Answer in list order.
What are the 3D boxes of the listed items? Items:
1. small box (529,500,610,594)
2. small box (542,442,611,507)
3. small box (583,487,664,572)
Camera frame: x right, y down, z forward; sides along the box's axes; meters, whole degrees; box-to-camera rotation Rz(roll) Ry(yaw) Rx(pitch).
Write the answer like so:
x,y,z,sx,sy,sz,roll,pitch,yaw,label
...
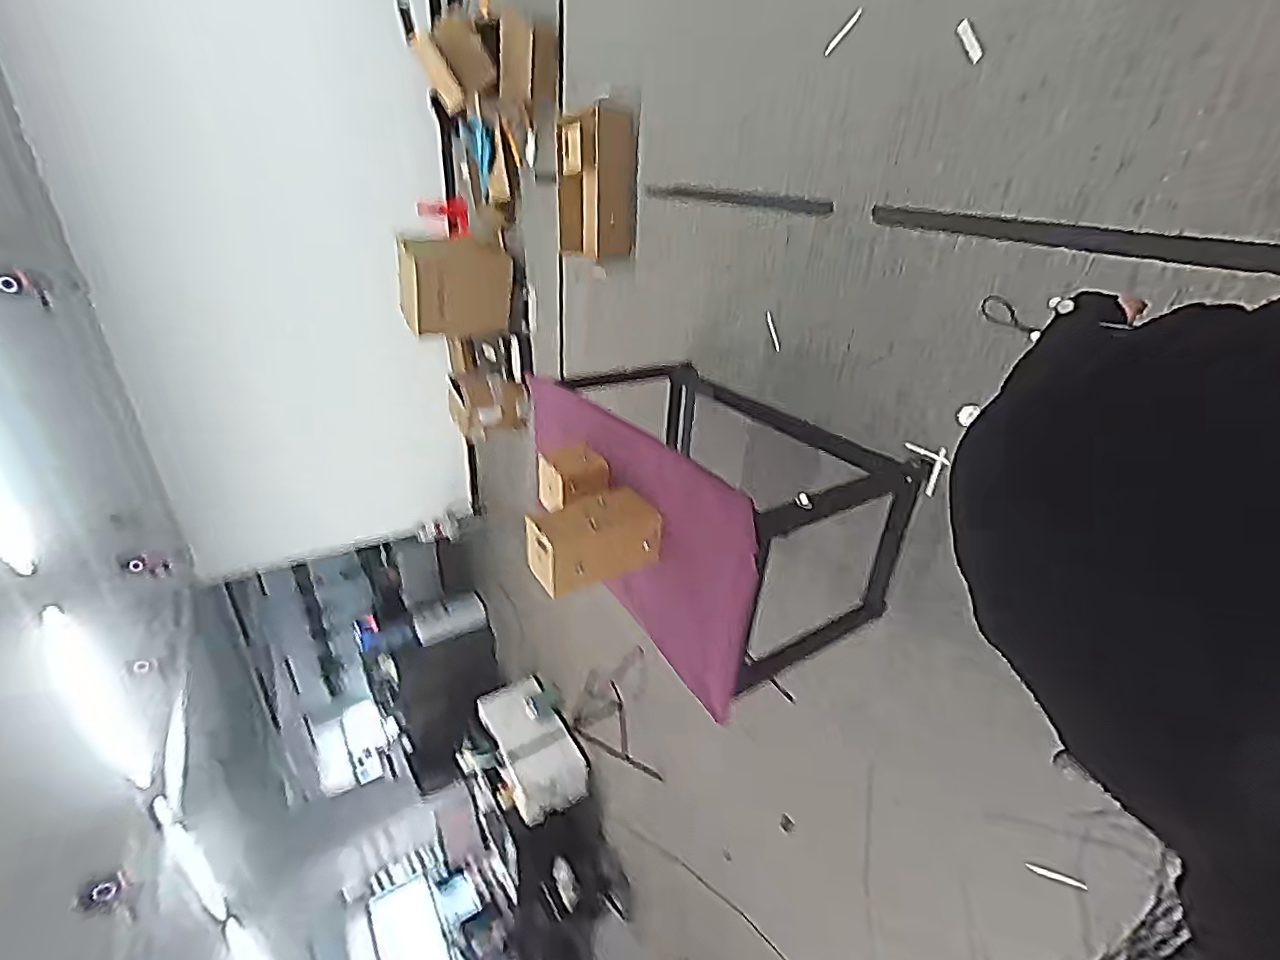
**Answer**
x,y,z,sx,sy,sz,roll,pitch,yaw,label
-0.191,0.175,1.477,0.168,0.176,0.179,38,133,47,small box
-0.206,-0.003,1.751,0.168,0.176,0.179,39,134,45,small box
-0.053,0.134,1.557,0.179,0.176,0.168,39,134,45,small box
